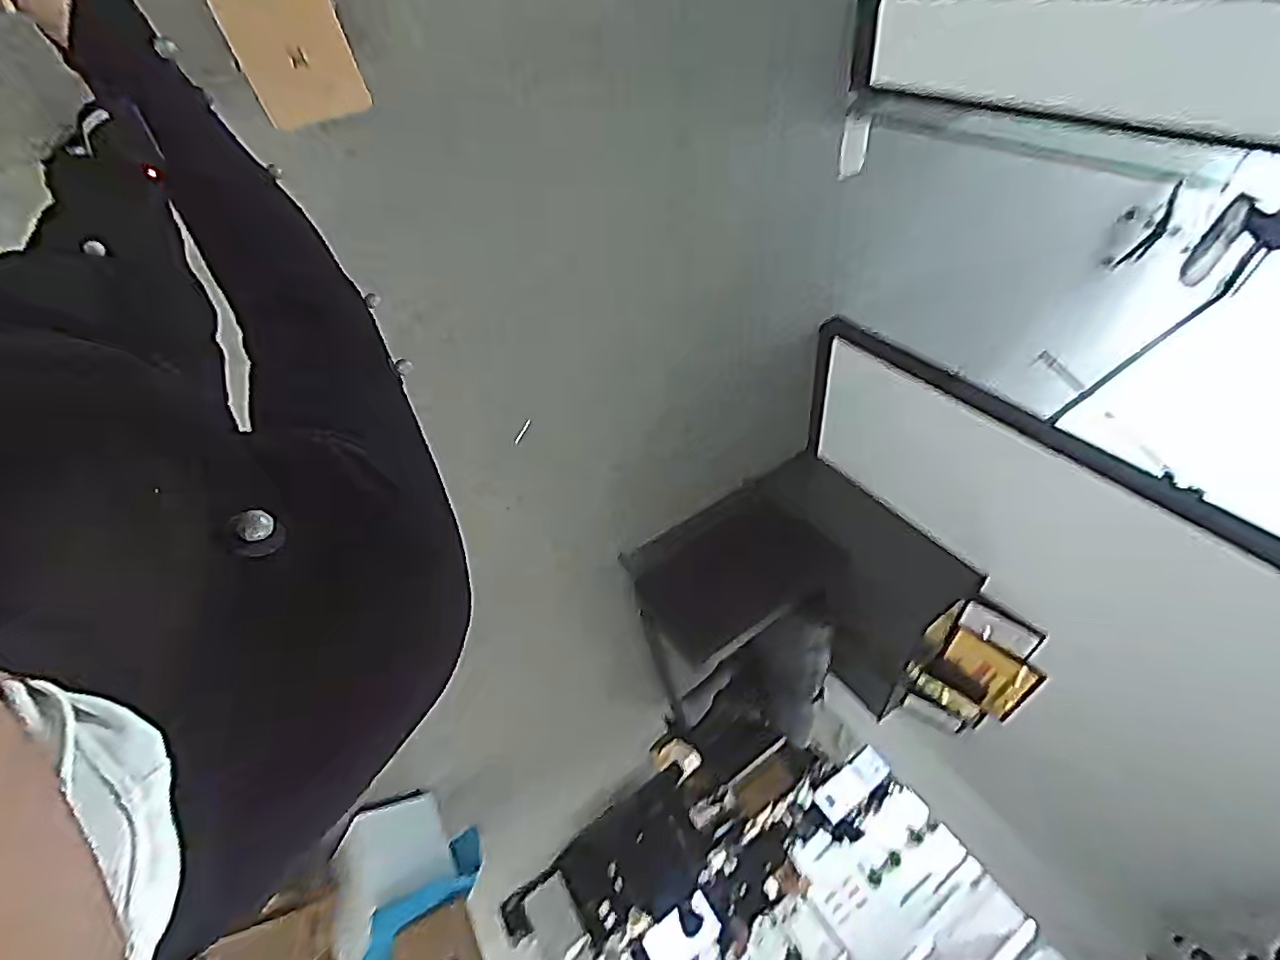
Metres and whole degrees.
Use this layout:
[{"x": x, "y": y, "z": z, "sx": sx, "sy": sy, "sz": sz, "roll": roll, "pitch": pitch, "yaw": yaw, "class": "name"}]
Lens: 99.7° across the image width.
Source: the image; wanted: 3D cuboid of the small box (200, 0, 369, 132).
[{"x": -0.588, "y": -0.710, "z": 0.897, "sx": 0.168, "sy": 0.176, "sz": 0.179, "roll": -29, "pitch": 141, "yaw": -17, "class": "small box"}]
